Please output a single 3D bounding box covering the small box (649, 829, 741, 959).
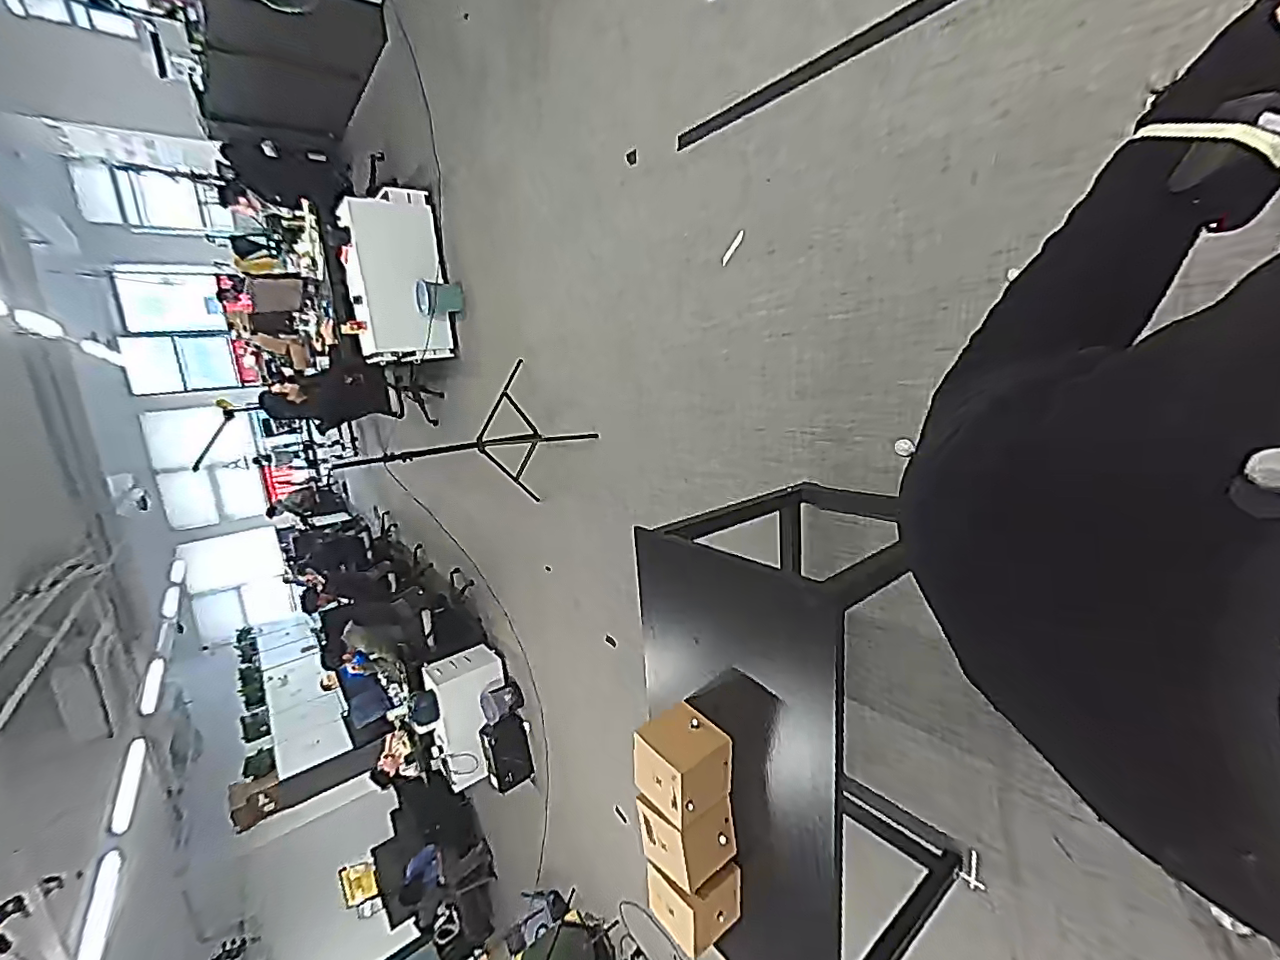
[{"bbox_3d":[0.143,1.051,1.388,0.179,0.176,0.168,16,113,51],"label":"small box"}]
